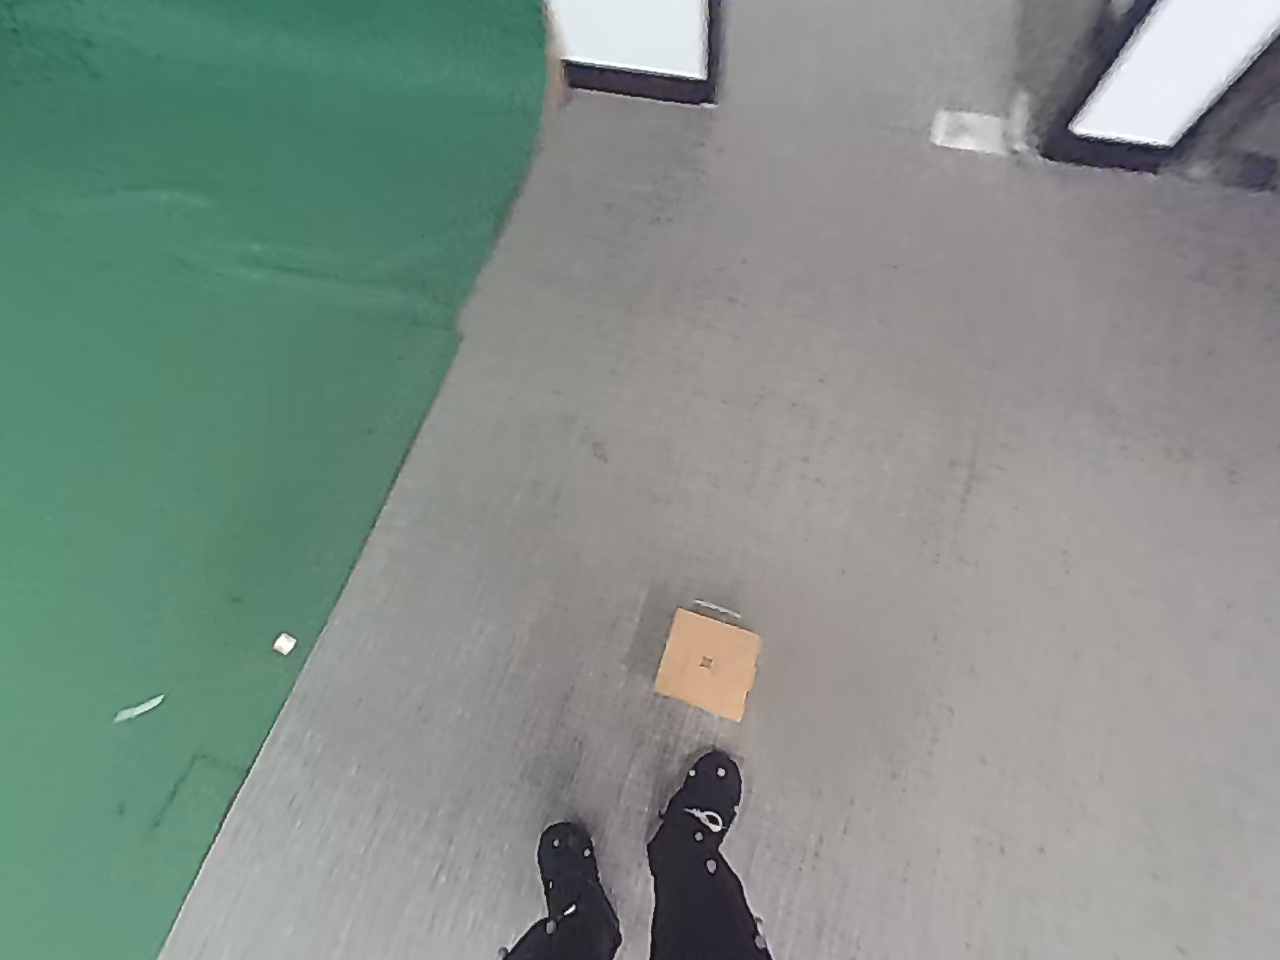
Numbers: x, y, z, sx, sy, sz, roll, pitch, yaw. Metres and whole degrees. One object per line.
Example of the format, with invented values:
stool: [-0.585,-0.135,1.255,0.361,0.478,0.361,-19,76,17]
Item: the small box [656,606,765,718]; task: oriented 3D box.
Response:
small box: [0.147,0.372,1.122,0.179,0.176,0.168,16,75,13]
